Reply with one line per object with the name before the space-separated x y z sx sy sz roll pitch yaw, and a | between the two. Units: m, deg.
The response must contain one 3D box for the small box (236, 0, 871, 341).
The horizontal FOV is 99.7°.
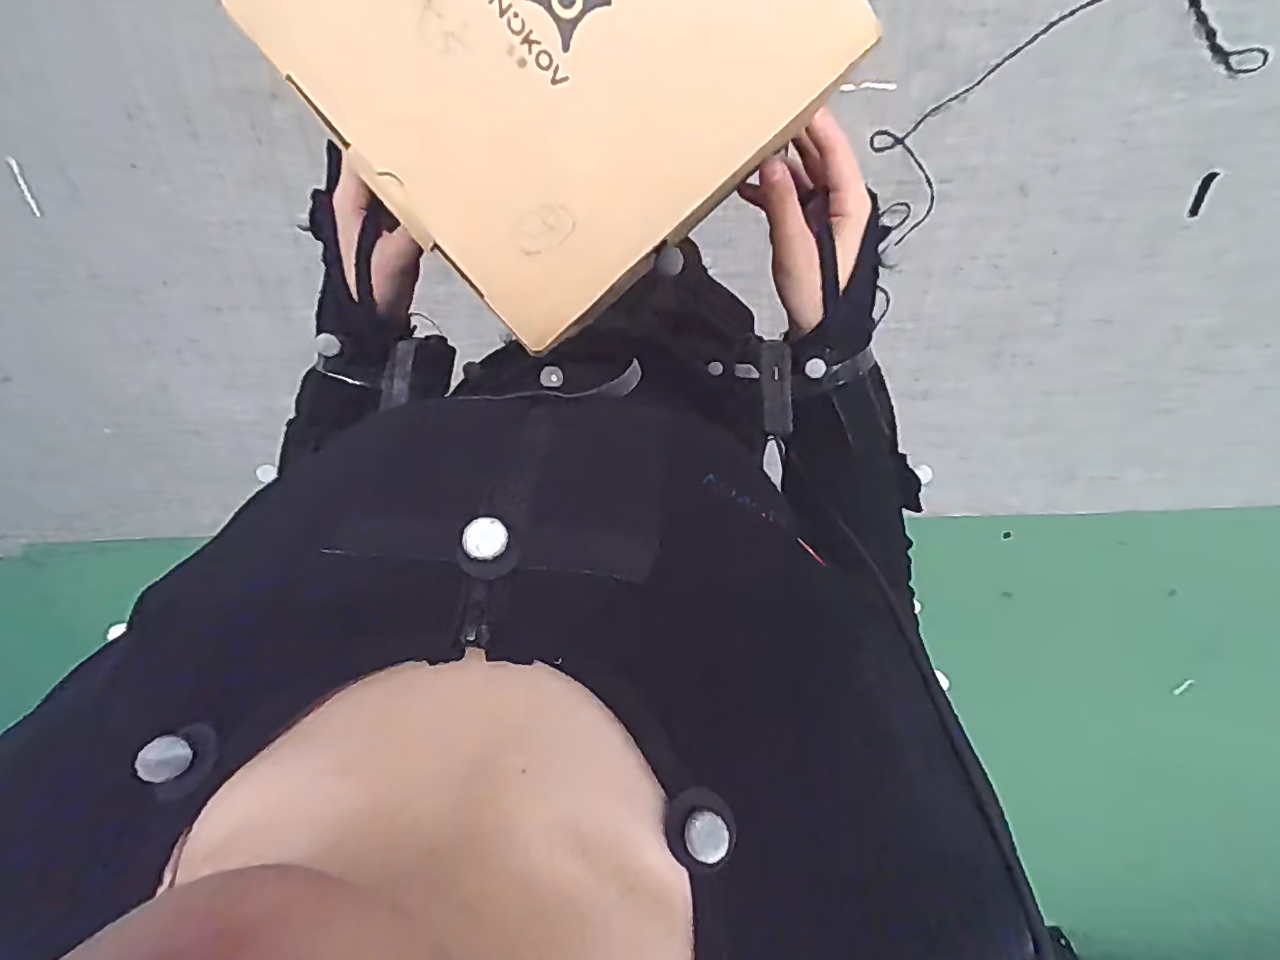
small box | -0.029 -0.194 0.269 0.179 0.176 0.168 -38 104 15
